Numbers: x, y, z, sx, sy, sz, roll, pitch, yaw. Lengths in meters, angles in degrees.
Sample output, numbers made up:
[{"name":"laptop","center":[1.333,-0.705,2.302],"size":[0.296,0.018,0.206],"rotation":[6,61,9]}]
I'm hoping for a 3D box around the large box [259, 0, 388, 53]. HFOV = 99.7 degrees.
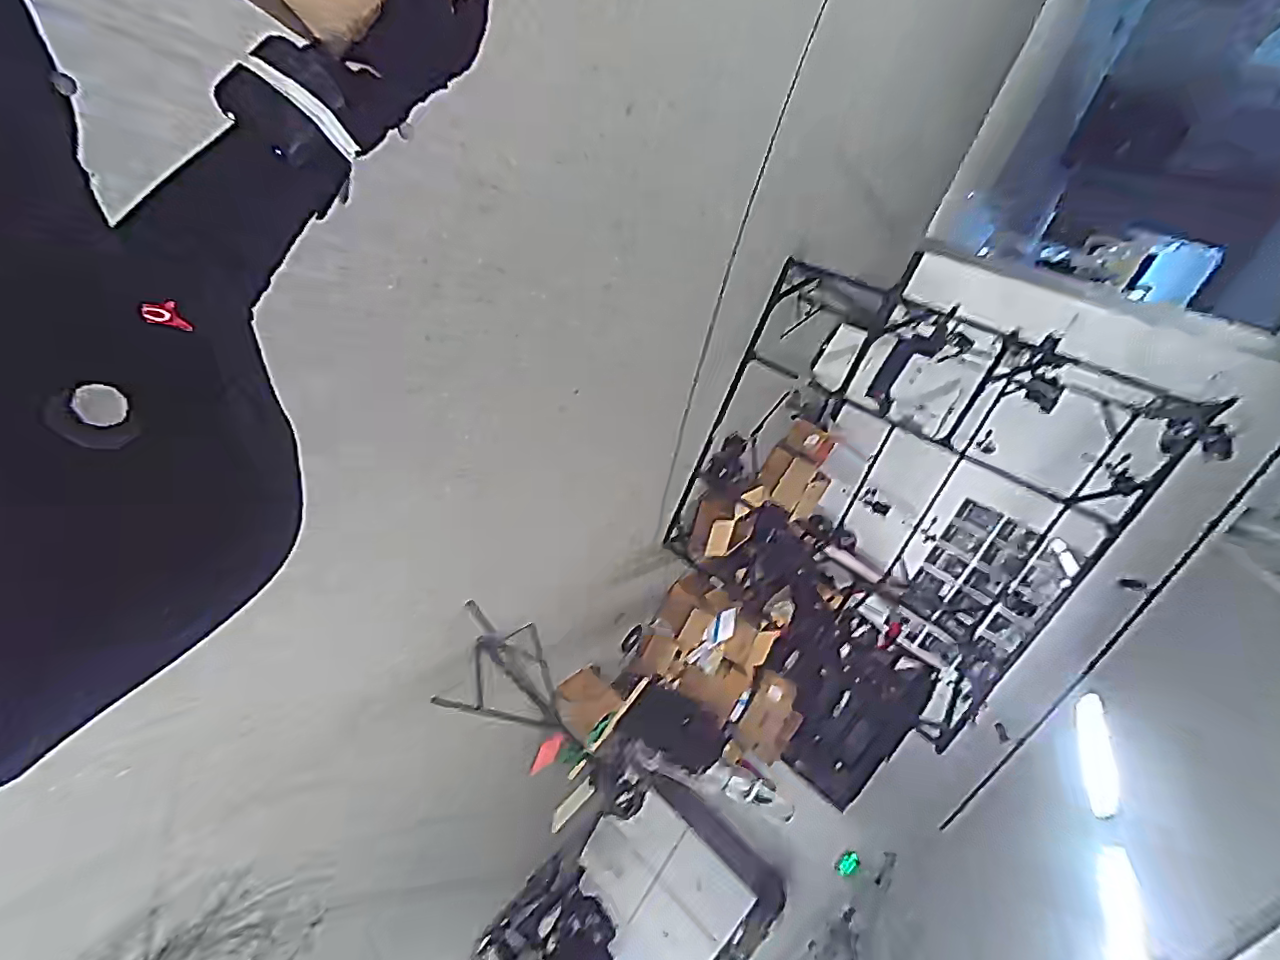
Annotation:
[{"name":"large box","center":[-0.288,-0.569,0.273],"size":[0.320,0.320,0.408],"rotation":[-48,160,1]}]
